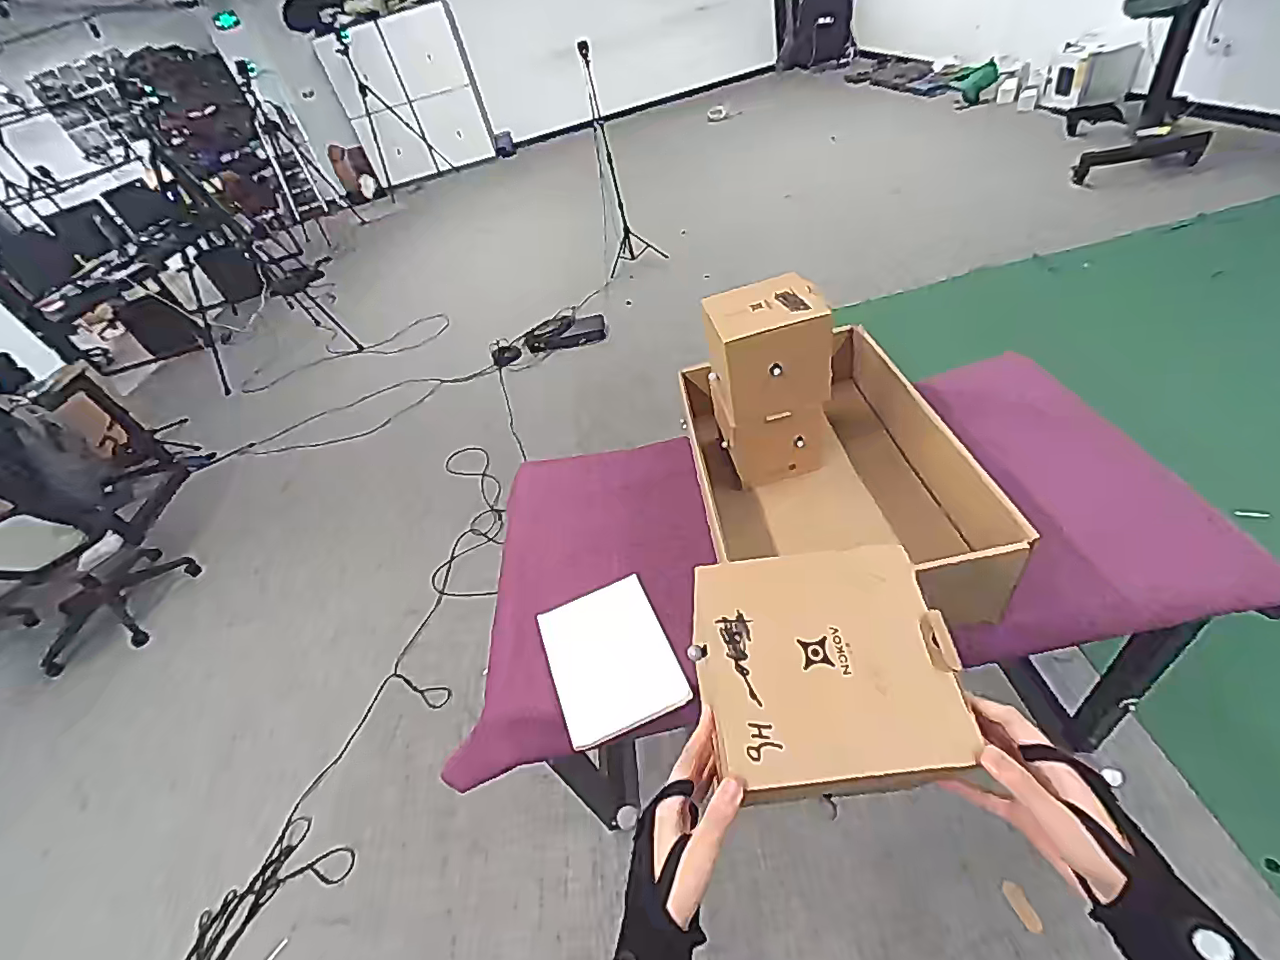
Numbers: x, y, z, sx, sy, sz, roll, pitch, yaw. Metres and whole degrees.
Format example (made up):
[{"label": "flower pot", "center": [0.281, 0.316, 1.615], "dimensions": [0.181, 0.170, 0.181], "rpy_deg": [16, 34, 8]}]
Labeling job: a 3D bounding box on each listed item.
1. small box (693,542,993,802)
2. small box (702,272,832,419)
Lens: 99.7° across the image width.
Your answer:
[{"label": "small box", "center": [0.144, 0.169, 0.462], "dimensions": [0.179, 0.176, 0.168], "rpy_deg": [-5, 54, 0]}, {"label": "small box", "center": [0.219, -0.232, 0.946], "dimensions": [0.179, 0.176, 0.168], "rpy_deg": [-15, 43, 3]}]
